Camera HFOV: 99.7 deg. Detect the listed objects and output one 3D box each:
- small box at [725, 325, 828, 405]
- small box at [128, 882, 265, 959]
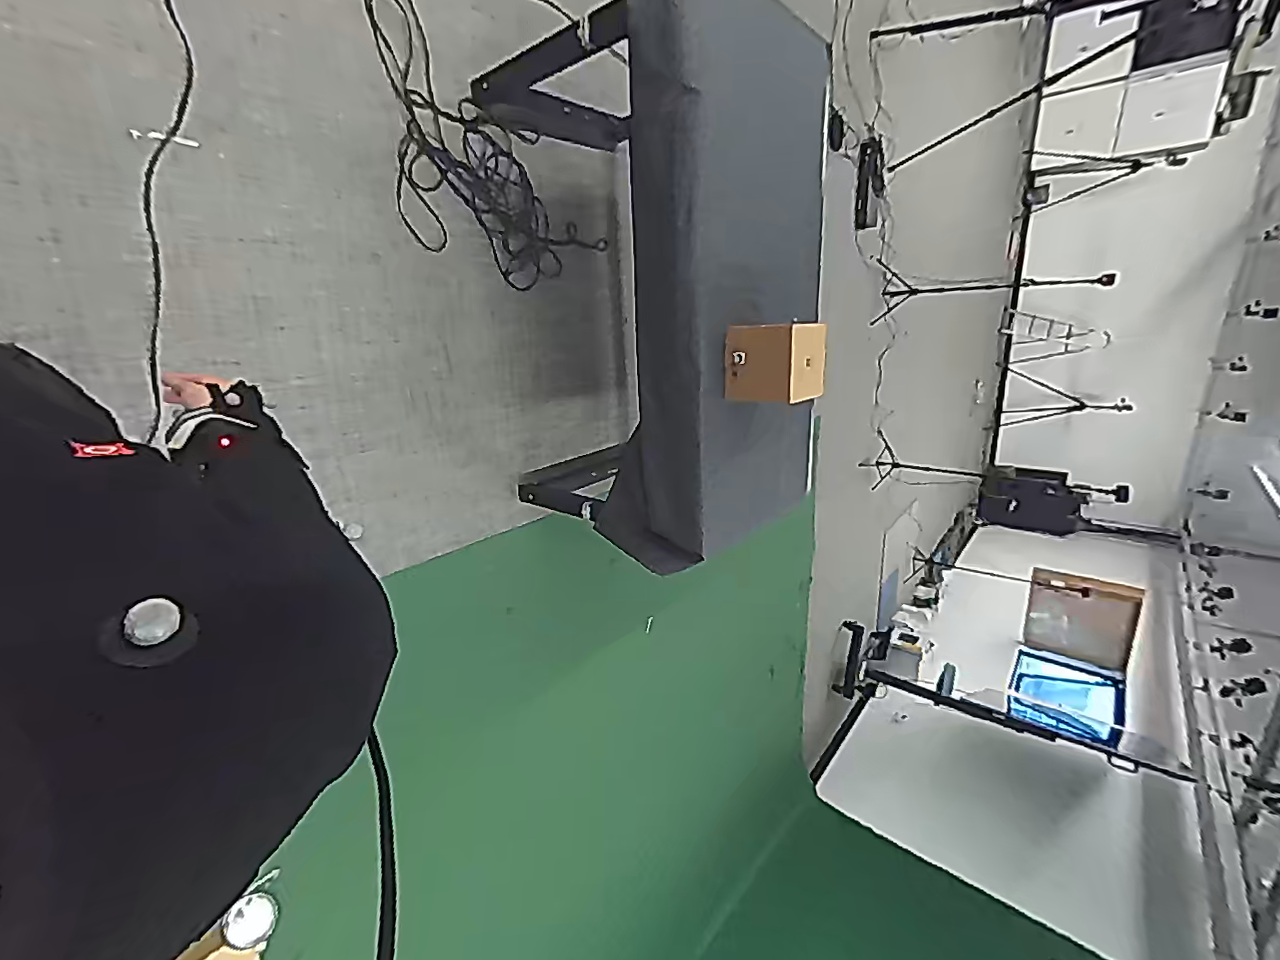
[{"bbox_3d":[0.312,-0.270,1.239,0.179,0.176,0.168,-20,113,-46],"label":"small box"},{"bbox_3d":[-0.846,0.928,1.039,0.168,0.176,0.179,-19,113,-47],"label":"small box"}]
